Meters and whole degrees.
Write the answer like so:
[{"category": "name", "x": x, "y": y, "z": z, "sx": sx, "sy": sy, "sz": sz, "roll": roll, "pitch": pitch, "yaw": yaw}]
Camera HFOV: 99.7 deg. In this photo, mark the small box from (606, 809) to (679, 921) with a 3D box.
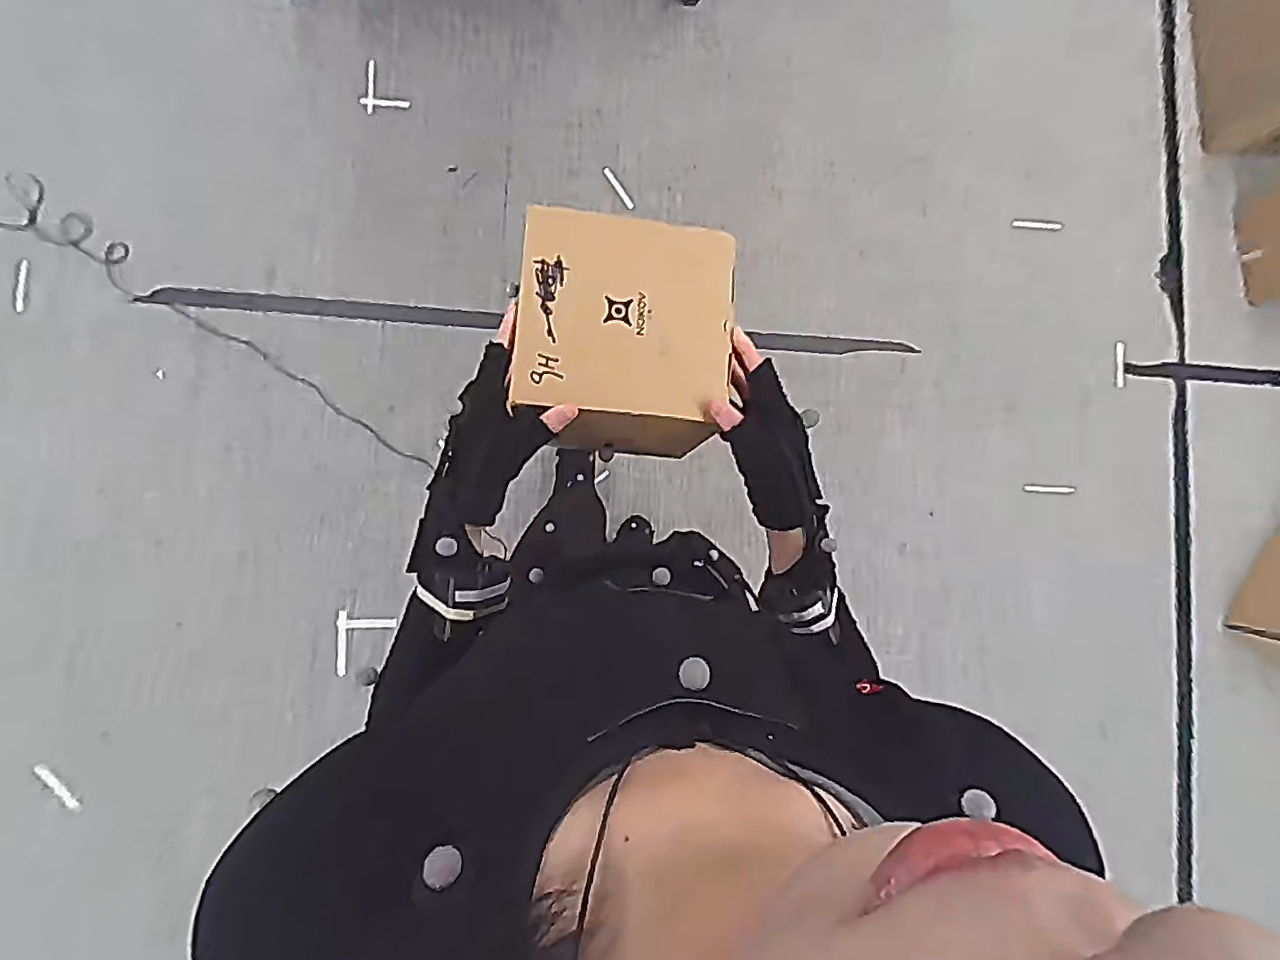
[{"category": "small box", "x": 0.001, "y": 0.995, "z": 1.407, "sx": 0.168, "sy": 0.176, "sz": 0.179, "roll": 5, "pitch": 86, "yaw": -5}]
